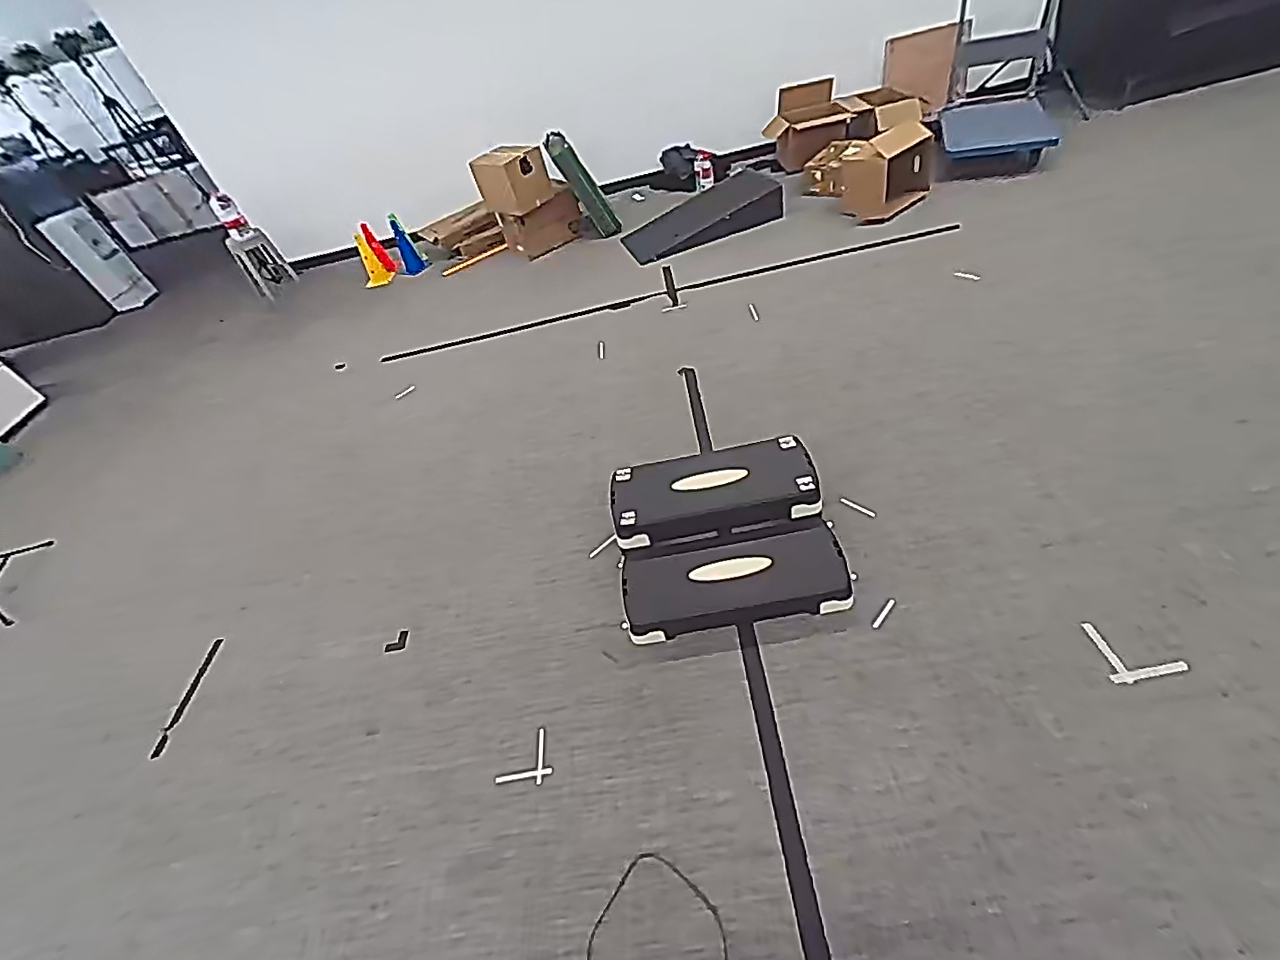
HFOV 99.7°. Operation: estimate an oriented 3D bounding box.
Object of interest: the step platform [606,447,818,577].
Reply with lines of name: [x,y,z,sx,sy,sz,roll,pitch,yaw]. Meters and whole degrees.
step platform: [0.229,0.102,1.805,0.684,0.204,0.286,-12,45,4]
